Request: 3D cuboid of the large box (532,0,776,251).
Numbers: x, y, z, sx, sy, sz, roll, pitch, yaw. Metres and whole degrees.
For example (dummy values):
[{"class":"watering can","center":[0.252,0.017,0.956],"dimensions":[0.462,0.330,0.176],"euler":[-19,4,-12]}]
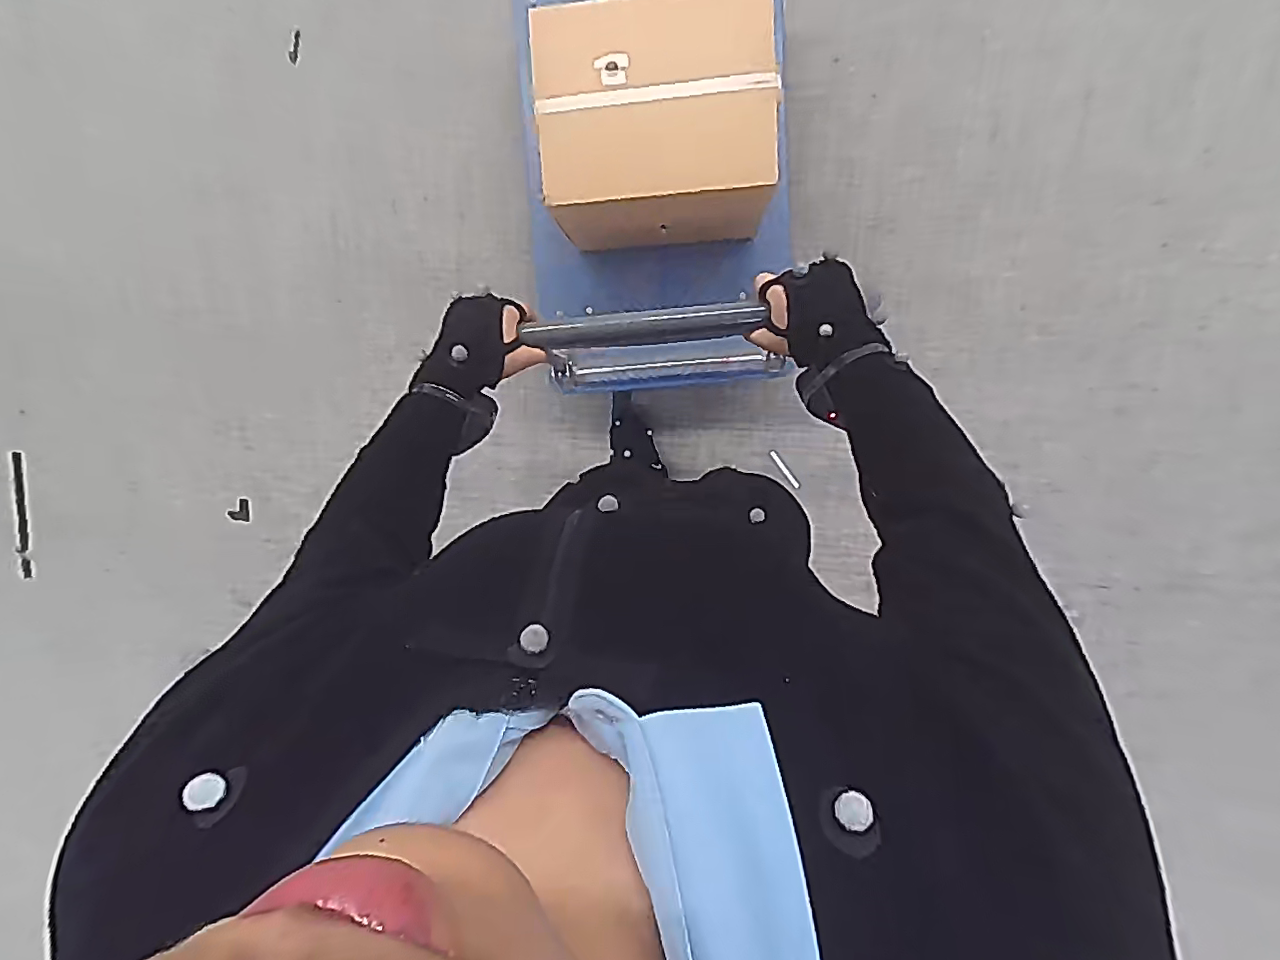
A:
[{"class":"large box","center":[0.038,-0.667,1.067],"dimensions":[0.408,0.320,0.320],"euler":[-3,97,6]}]
